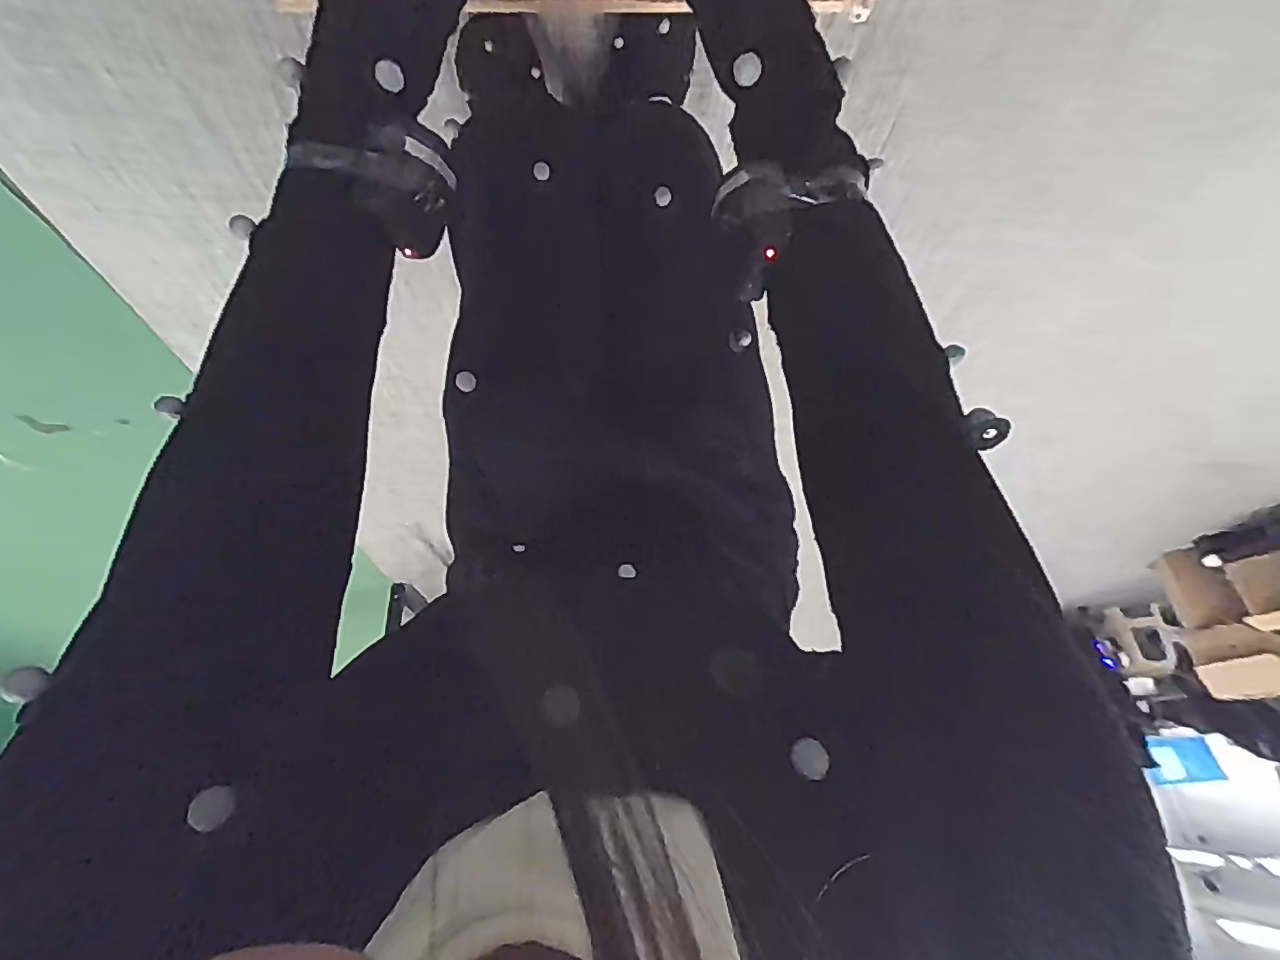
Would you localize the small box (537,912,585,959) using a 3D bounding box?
[{"bbox_3d":[-0.308,1.818,2.123,0.179,0.176,0.168,-4,150,-2],"label":"small box"}]
